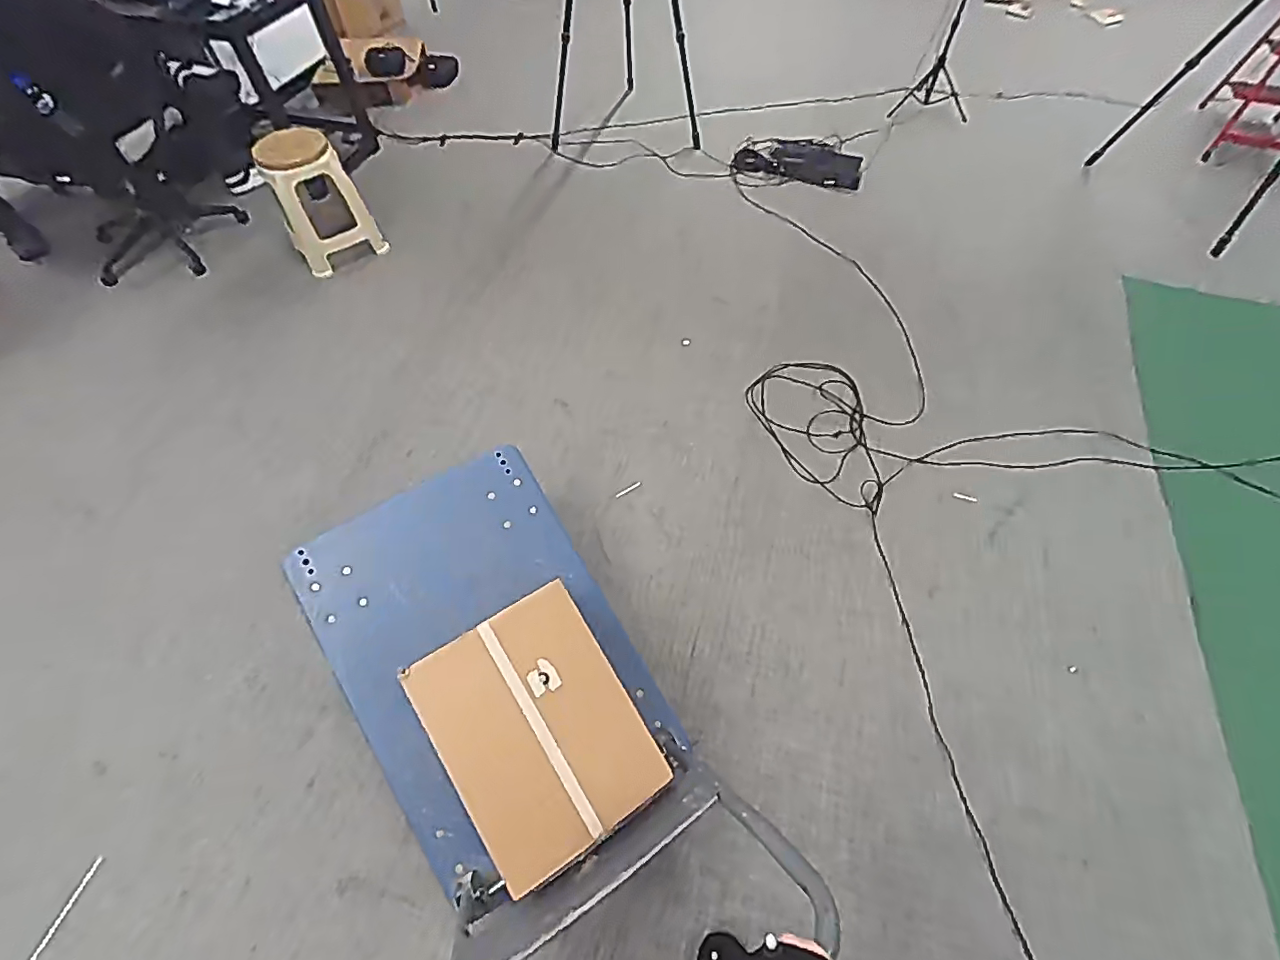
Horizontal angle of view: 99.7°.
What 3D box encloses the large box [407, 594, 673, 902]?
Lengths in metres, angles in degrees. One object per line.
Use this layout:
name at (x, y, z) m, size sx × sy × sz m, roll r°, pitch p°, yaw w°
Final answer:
large box at (-0.194, 0.489, 1.080) m, size 0.320 × 0.320 × 0.408 m, roll -29°, pitch 81°, yaw -18°
